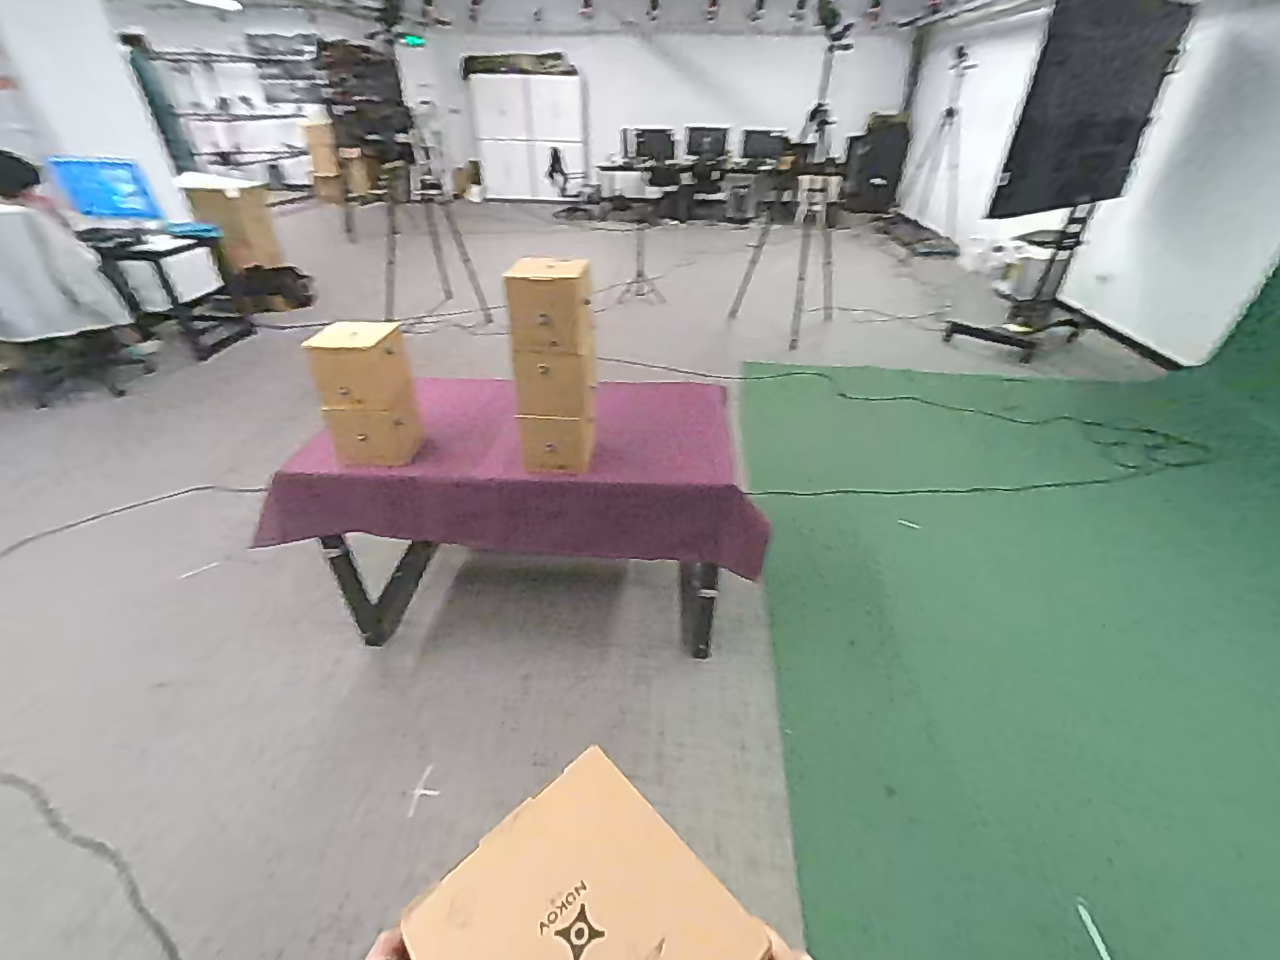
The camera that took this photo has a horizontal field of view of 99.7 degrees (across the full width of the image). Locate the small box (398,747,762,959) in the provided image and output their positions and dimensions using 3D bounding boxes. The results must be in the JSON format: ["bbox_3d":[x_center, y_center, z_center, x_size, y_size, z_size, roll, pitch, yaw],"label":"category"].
[{"bbox_3d":[-0.037,0.343,0.380,0.168,0.176,0.179,-30,41,-32],"label":"small box"}]

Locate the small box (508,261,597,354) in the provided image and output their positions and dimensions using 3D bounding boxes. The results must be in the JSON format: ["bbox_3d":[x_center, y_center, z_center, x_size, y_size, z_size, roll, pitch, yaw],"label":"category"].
[{"bbox_3d":[-0.195,-0.403,1.265,0.168,0.176,0.179,4,36,4],"label":"small box"}]

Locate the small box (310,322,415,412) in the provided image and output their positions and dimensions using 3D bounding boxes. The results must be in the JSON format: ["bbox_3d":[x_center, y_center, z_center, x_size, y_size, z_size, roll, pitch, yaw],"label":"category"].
[{"bbox_3d":[-0.693,-0.289,1.376,0.168,0.176,0.179,2,35,2],"label":"small box"}]

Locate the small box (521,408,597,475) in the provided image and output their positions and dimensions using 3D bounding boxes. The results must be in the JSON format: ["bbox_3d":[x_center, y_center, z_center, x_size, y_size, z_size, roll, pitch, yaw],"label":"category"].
[{"bbox_3d":[-0.208,-0.127,1.444,0.168,0.176,0.179,4,35,4],"label":"small box"}]

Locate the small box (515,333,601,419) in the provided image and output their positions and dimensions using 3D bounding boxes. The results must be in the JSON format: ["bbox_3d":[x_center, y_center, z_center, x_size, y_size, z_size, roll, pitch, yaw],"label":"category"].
[{"bbox_3d":[-0.197,-0.264,1.352,0.179,0.176,0.168,5,35,4],"label":"small box"}]
